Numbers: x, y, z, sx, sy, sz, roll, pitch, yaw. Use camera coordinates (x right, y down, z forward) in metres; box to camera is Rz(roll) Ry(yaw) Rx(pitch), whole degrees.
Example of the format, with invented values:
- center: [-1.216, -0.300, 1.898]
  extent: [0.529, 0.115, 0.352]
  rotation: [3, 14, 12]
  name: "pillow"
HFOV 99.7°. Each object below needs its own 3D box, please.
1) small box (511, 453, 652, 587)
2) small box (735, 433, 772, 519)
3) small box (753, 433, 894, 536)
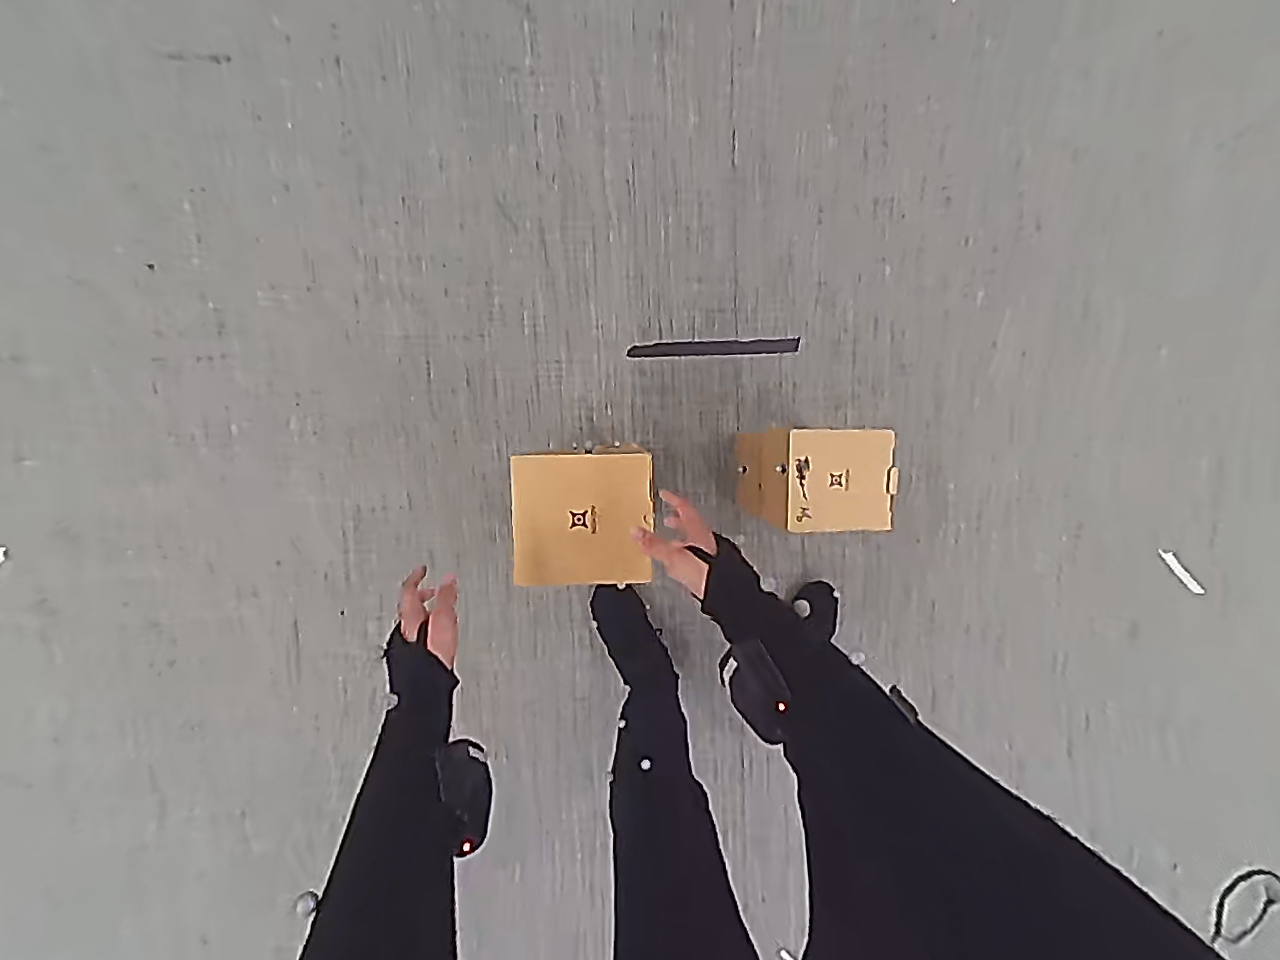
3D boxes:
- center: [-0.076, 0.048, 0.752]
  extent: [0.179, 0.176, 0.168]
  rotation: [-1, 95, -4]
  name: "small box"
- center: [0.297, -0.011, 1.105]
  extent: [0.179, 0.176, 0.168]
  rotation: [-1, 95, -5]
  name: "small box"
- center: [0.311, 0.002, 0.942]
  extent: [0.179, 0.176, 0.168]
  rotation: [0, 94, -6]
  name: "small box"
